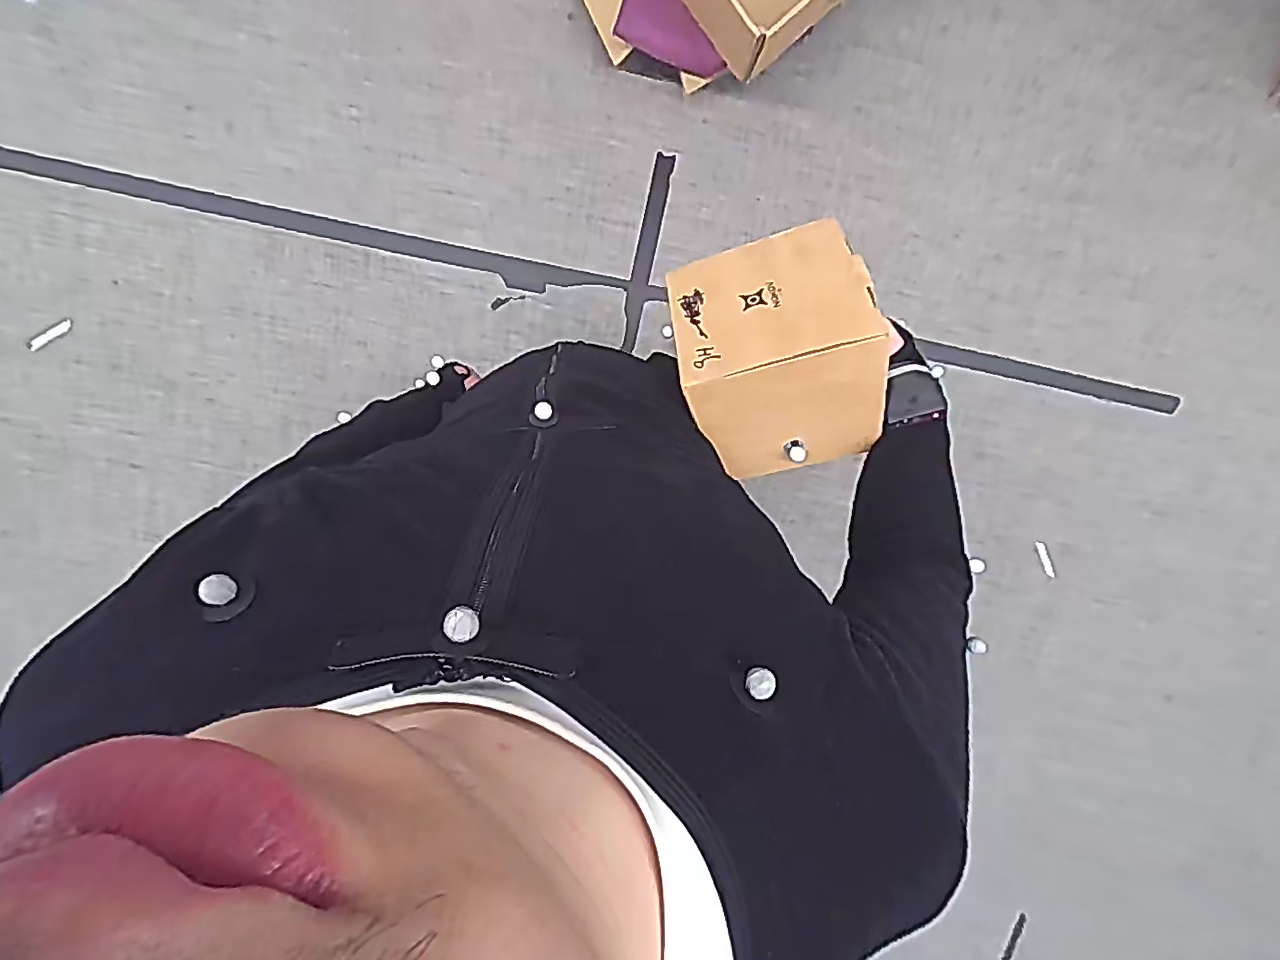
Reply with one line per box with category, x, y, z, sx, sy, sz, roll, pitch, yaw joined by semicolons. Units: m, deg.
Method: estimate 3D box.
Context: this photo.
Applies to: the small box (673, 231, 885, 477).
small box;0.144;-0.125;0.582;0.179;0.168;0.176;-13;145;12
